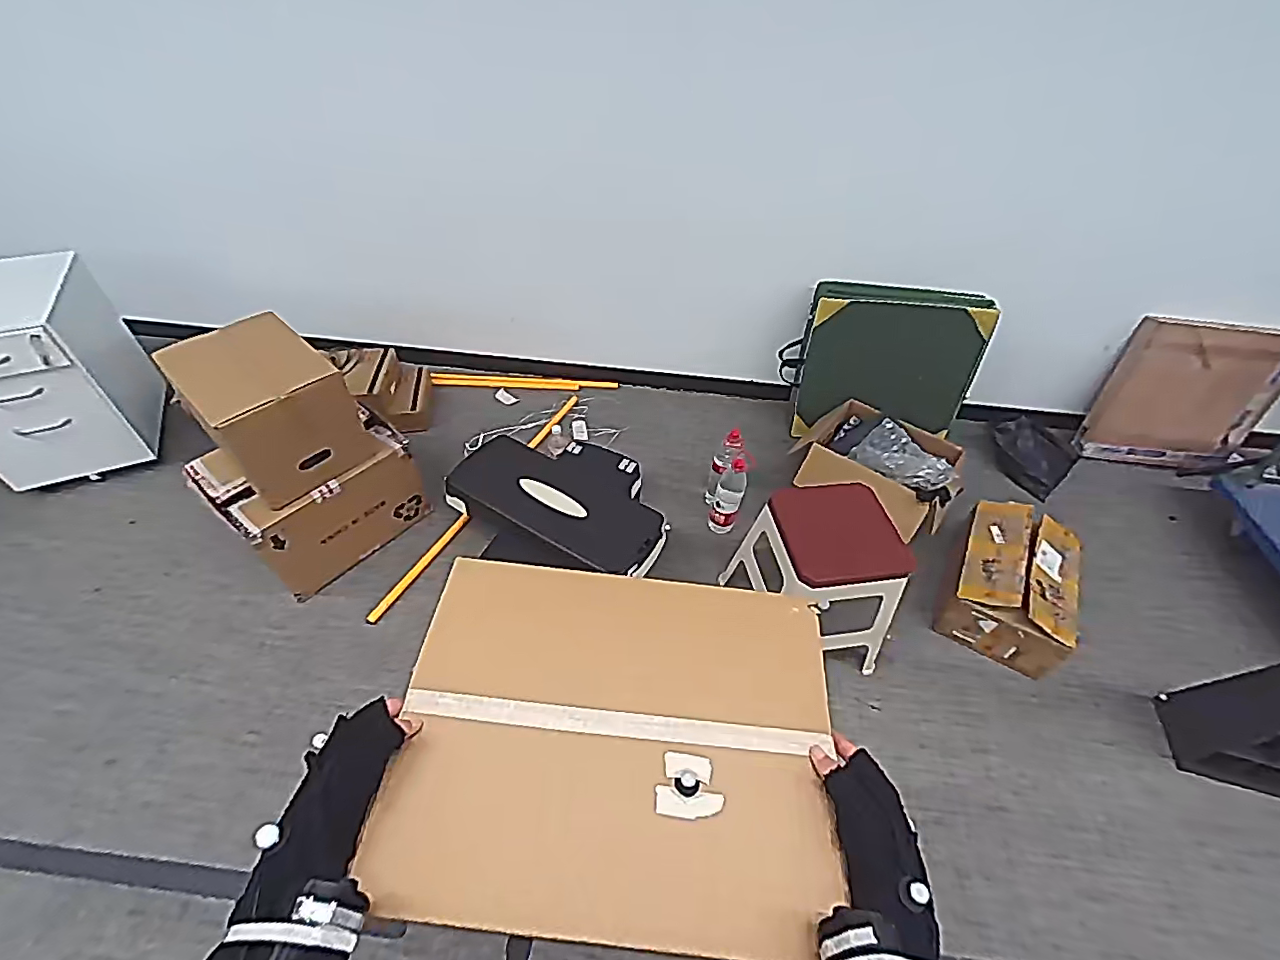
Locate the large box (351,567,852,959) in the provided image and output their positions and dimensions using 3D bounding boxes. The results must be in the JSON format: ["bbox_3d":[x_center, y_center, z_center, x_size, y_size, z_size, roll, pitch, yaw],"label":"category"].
[{"bbox_3d":[-0.029,0.329,0.628,0.408,0.320,0.320,7,51,1],"label":"large box"}]
